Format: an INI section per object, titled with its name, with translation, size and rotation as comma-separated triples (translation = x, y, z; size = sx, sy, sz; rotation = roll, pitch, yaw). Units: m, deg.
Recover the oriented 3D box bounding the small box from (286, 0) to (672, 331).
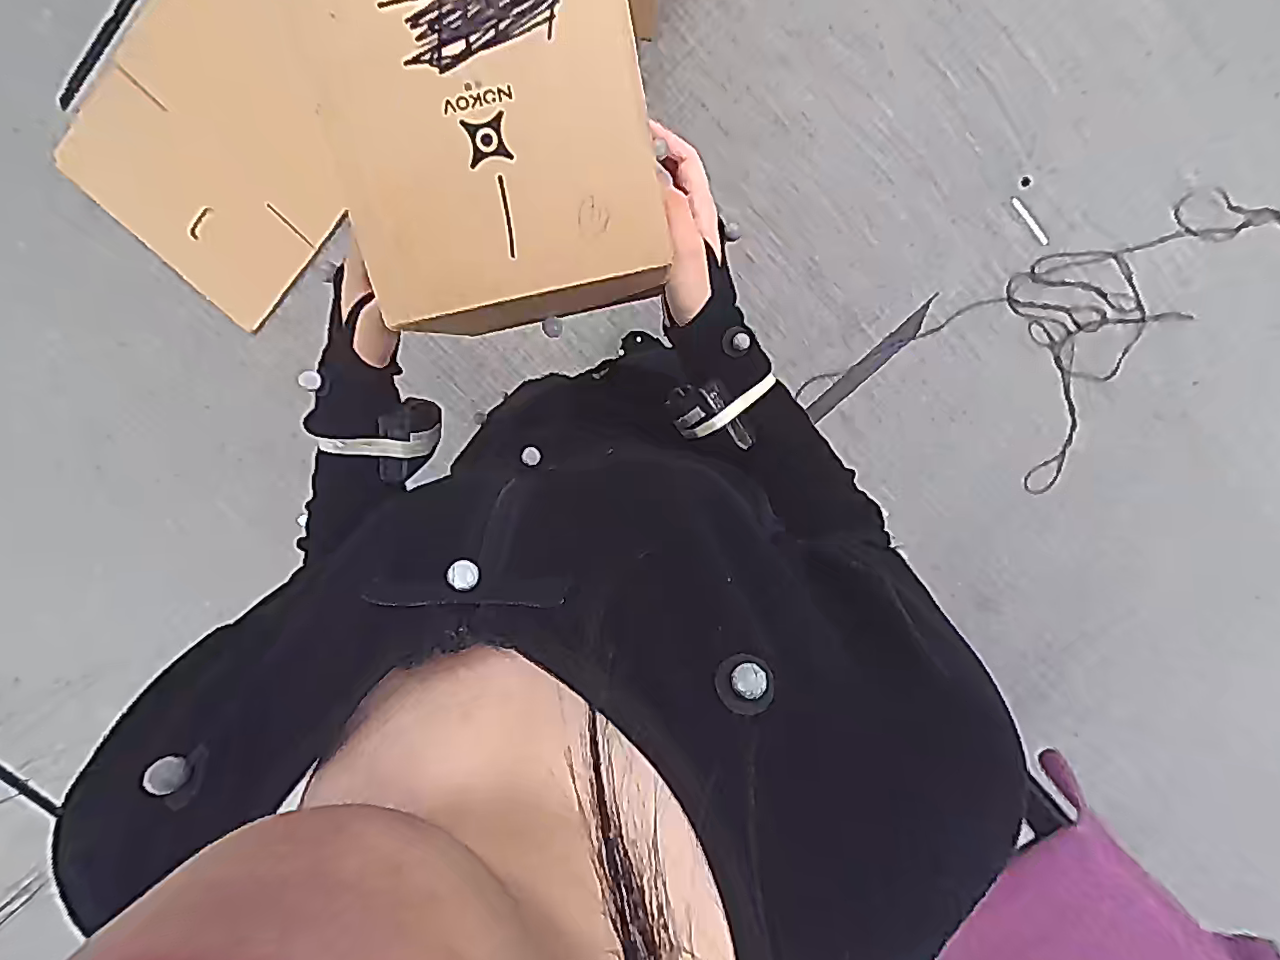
[small box]
translation = -0.080, -0.204, 0.352
size = 0.168, 0.176, 0.179
rotation = -12, 103, 3
